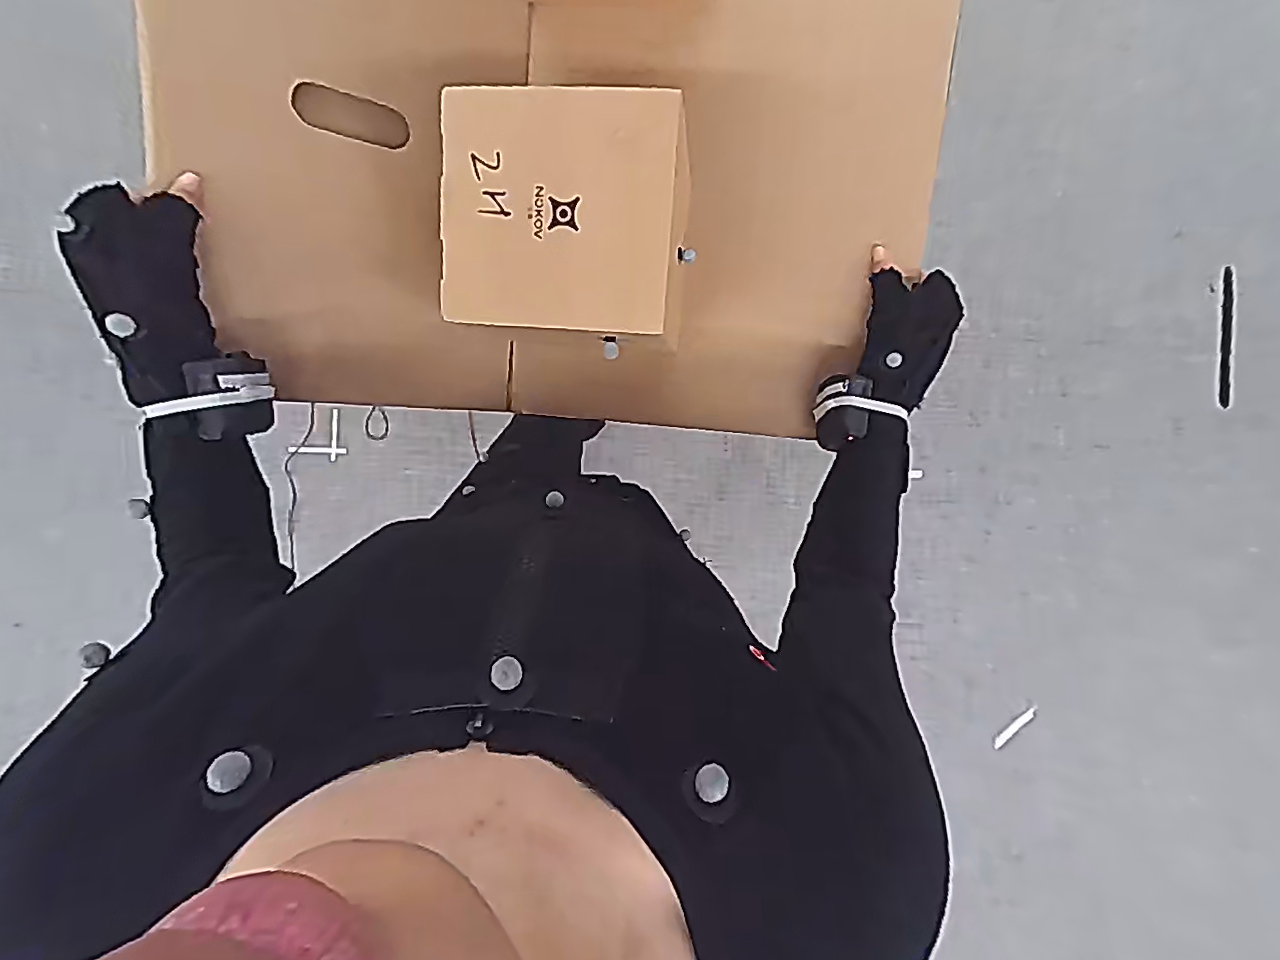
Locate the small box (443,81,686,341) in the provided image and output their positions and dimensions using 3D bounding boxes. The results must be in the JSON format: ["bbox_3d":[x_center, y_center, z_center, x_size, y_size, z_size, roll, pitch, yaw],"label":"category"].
[{"bbox_3d":[-0.054,-0.218,0.482,0.179,0.176,0.168,6,100,7],"label":"small box"}]
